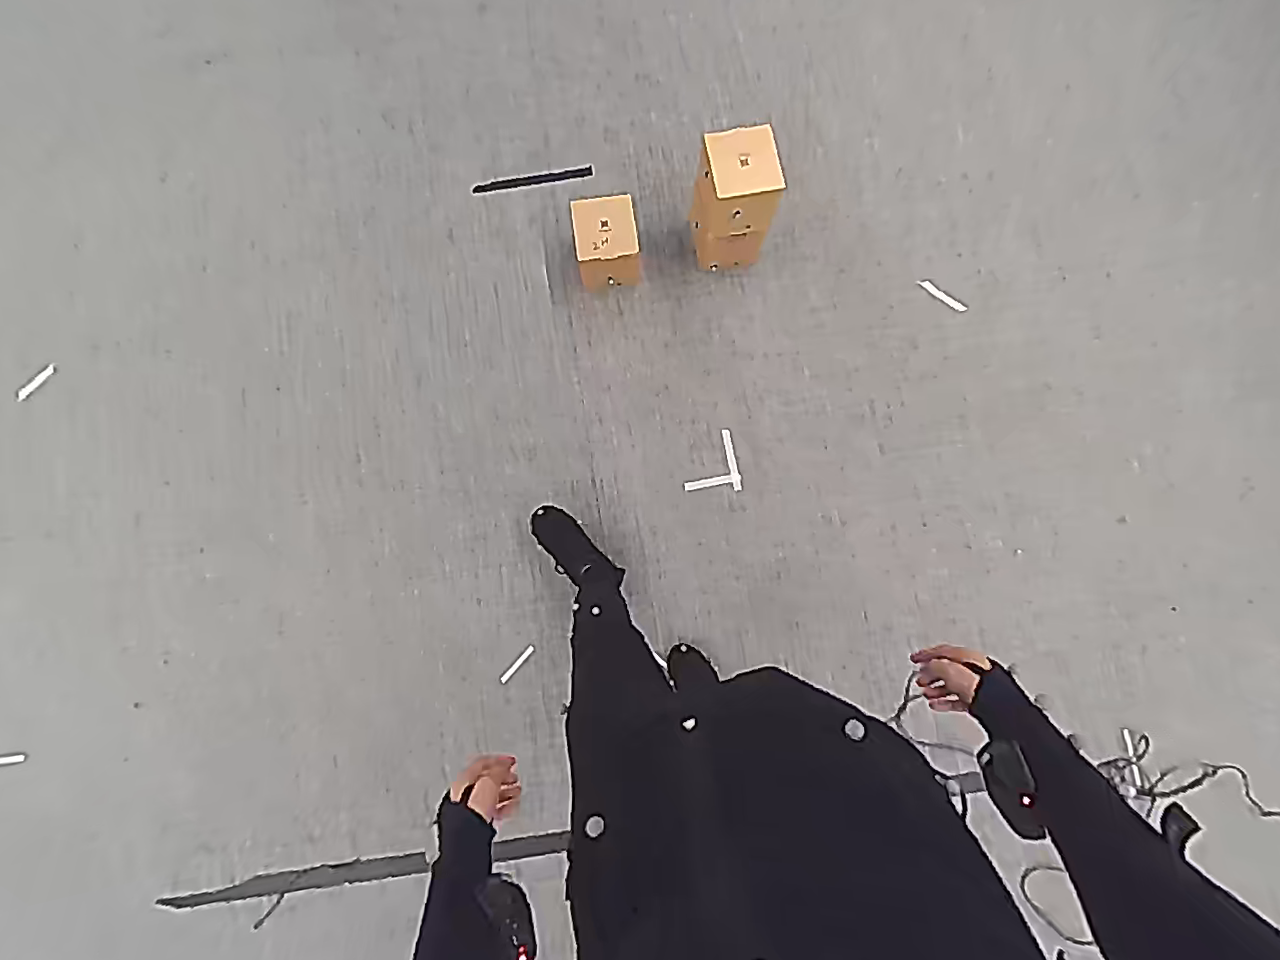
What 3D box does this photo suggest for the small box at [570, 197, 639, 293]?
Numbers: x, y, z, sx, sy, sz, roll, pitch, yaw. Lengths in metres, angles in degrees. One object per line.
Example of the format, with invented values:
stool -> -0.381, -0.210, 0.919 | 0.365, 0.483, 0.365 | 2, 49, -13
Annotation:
small box -> -0.096, -0.645, 1.497 | 0.168, 0.176, 0.179 | -8, 82, -1

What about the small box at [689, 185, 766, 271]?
small box -> 0.239, -0.706, 1.509 | 0.168, 0.176, 0.179 | -11, 81, -2

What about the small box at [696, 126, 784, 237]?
small box -> 0.243, -0.731, 1.349 | 0.168, 0.176, 0.179 | -11, 81, -2
